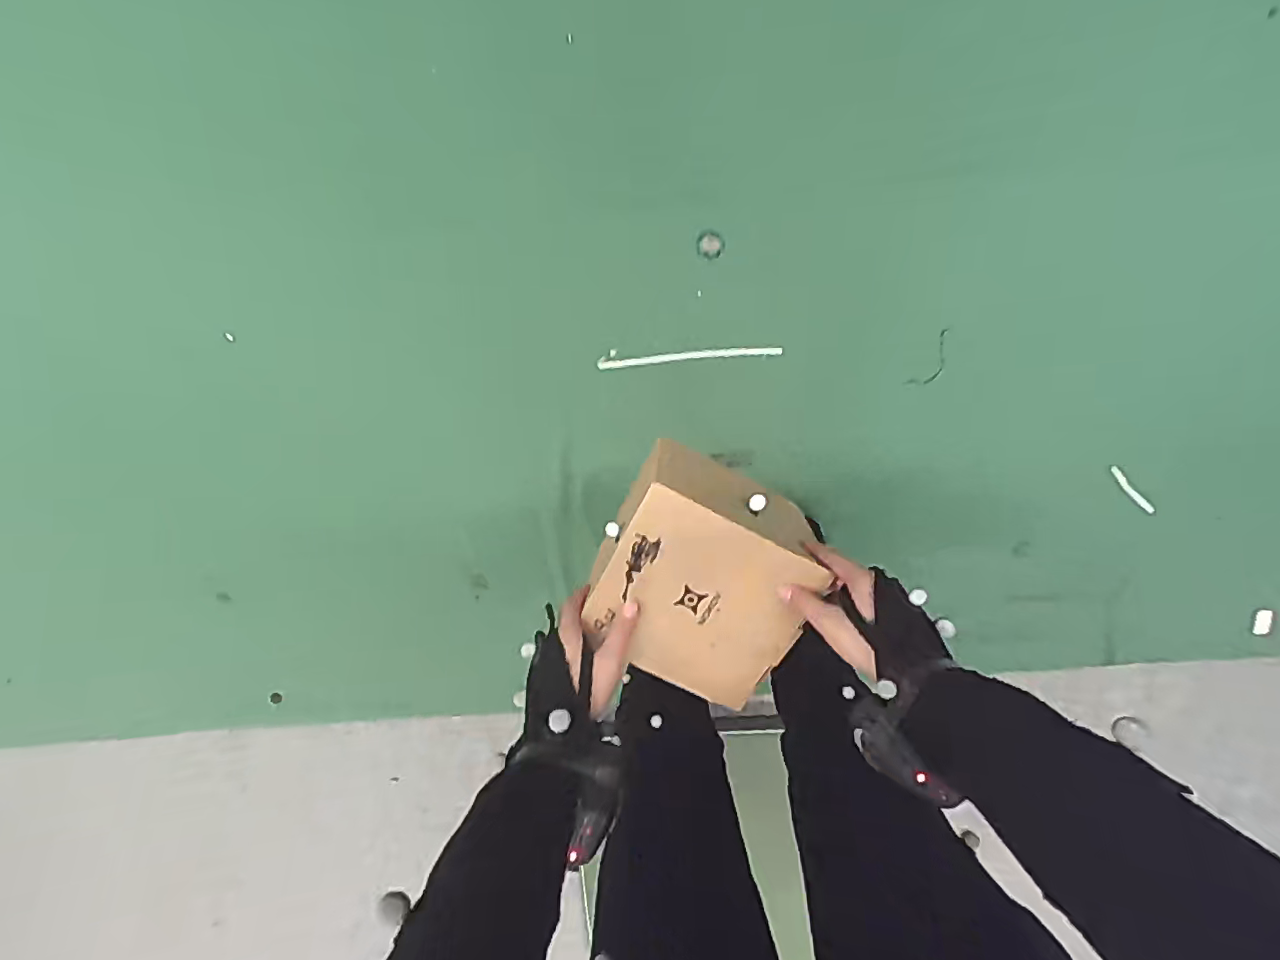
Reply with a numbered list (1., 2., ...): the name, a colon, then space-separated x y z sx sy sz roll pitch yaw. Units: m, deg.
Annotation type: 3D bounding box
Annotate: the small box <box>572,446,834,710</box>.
1. small box: 0.055 0.084 0.542 0.179 0.176 0.168 26 107 -5
